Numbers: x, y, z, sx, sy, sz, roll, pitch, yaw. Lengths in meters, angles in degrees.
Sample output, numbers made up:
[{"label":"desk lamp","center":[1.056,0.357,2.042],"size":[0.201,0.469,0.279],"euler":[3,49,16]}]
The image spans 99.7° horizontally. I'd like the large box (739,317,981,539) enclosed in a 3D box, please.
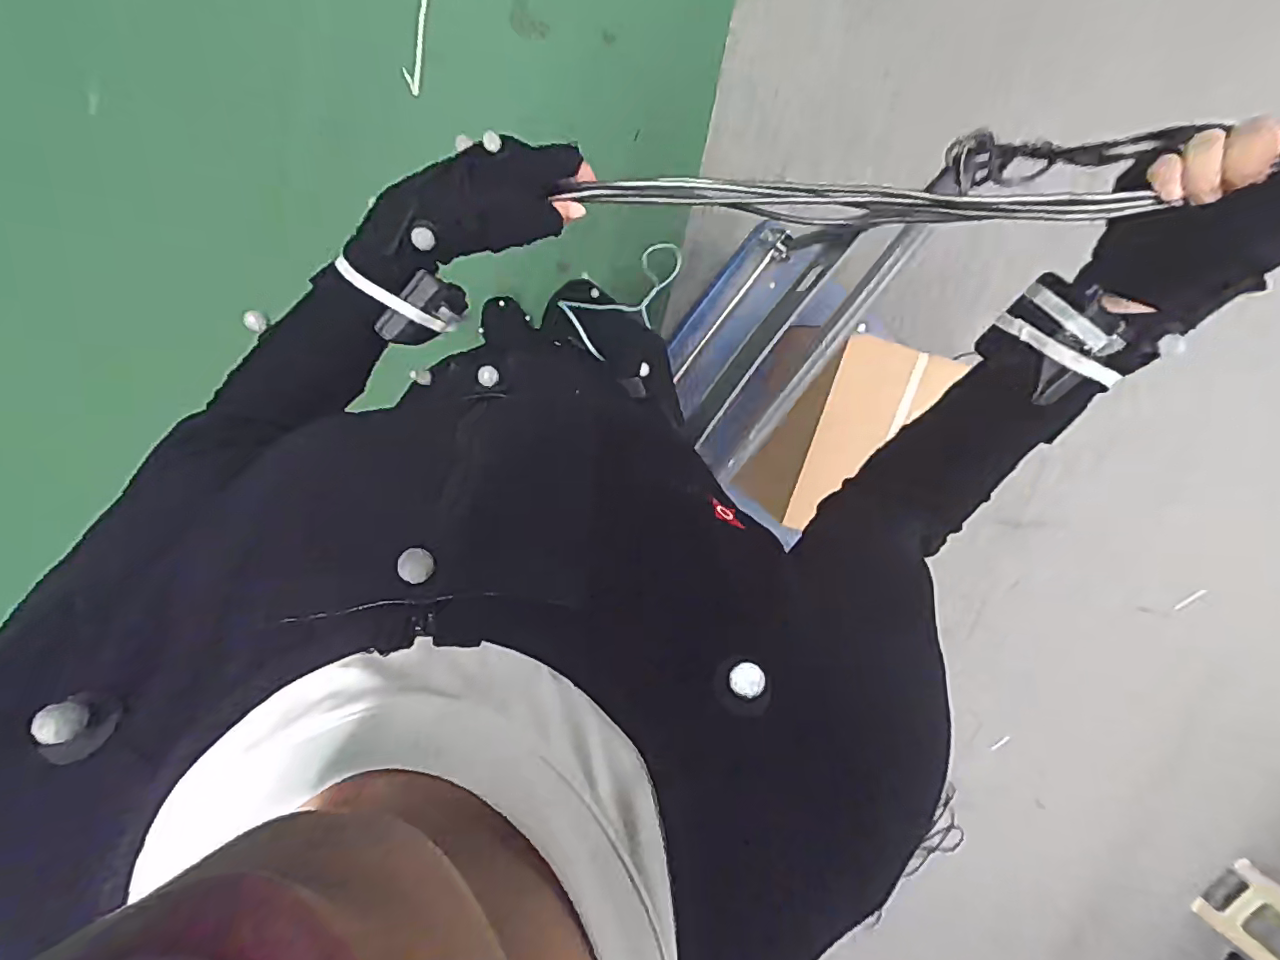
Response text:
[{"label":"large box","center":[0.465,-0.129,1.235],"size":[0.320,0.320,0.408],"euler":[14,104,-13]}]
